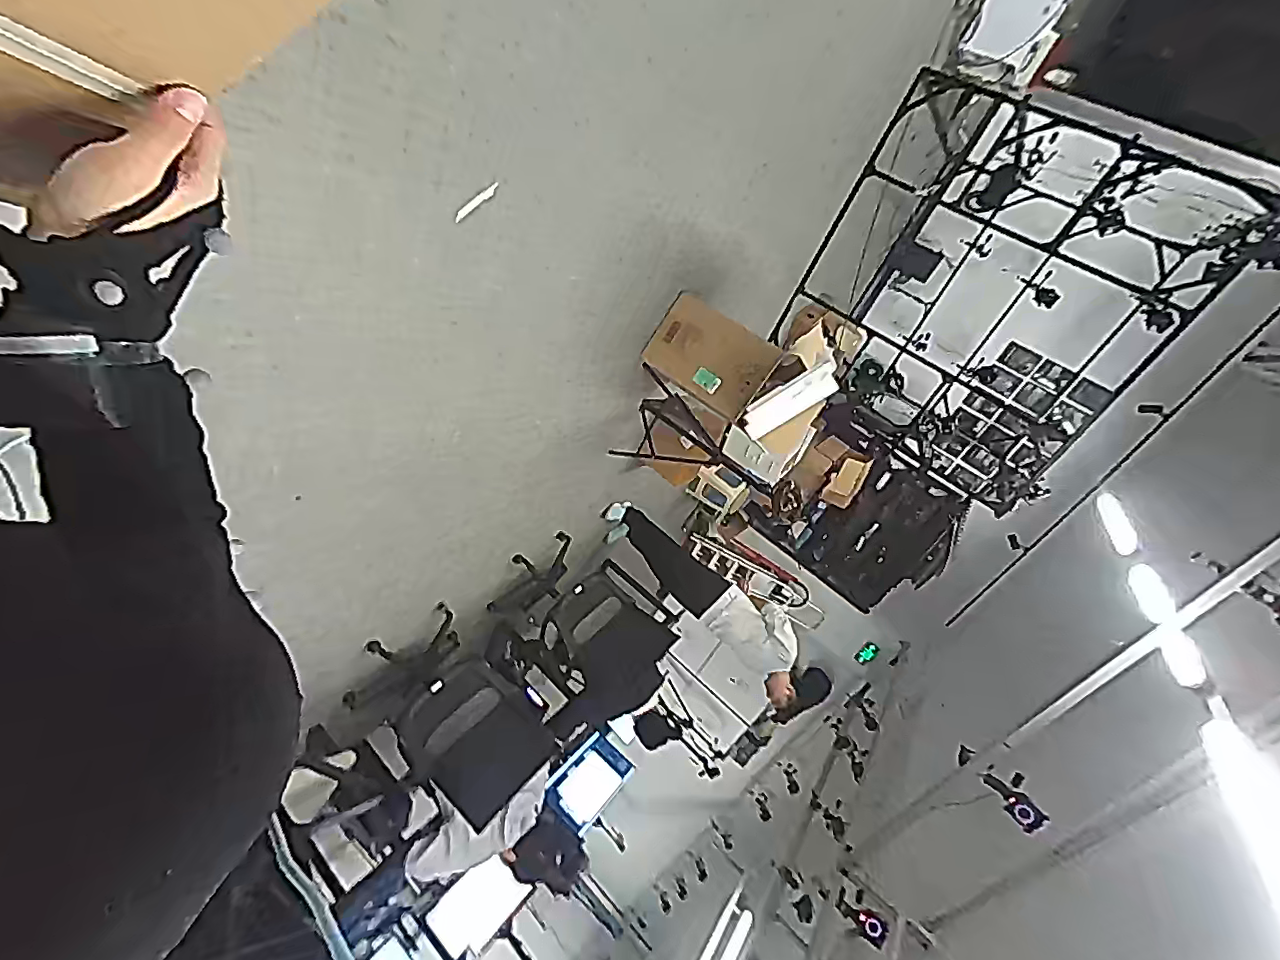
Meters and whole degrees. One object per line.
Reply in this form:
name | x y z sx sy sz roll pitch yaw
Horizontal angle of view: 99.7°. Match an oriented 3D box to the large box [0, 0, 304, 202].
large box | -0.362 -0.344 0.121 0.408 0.320 0.320 -10 90 -65
